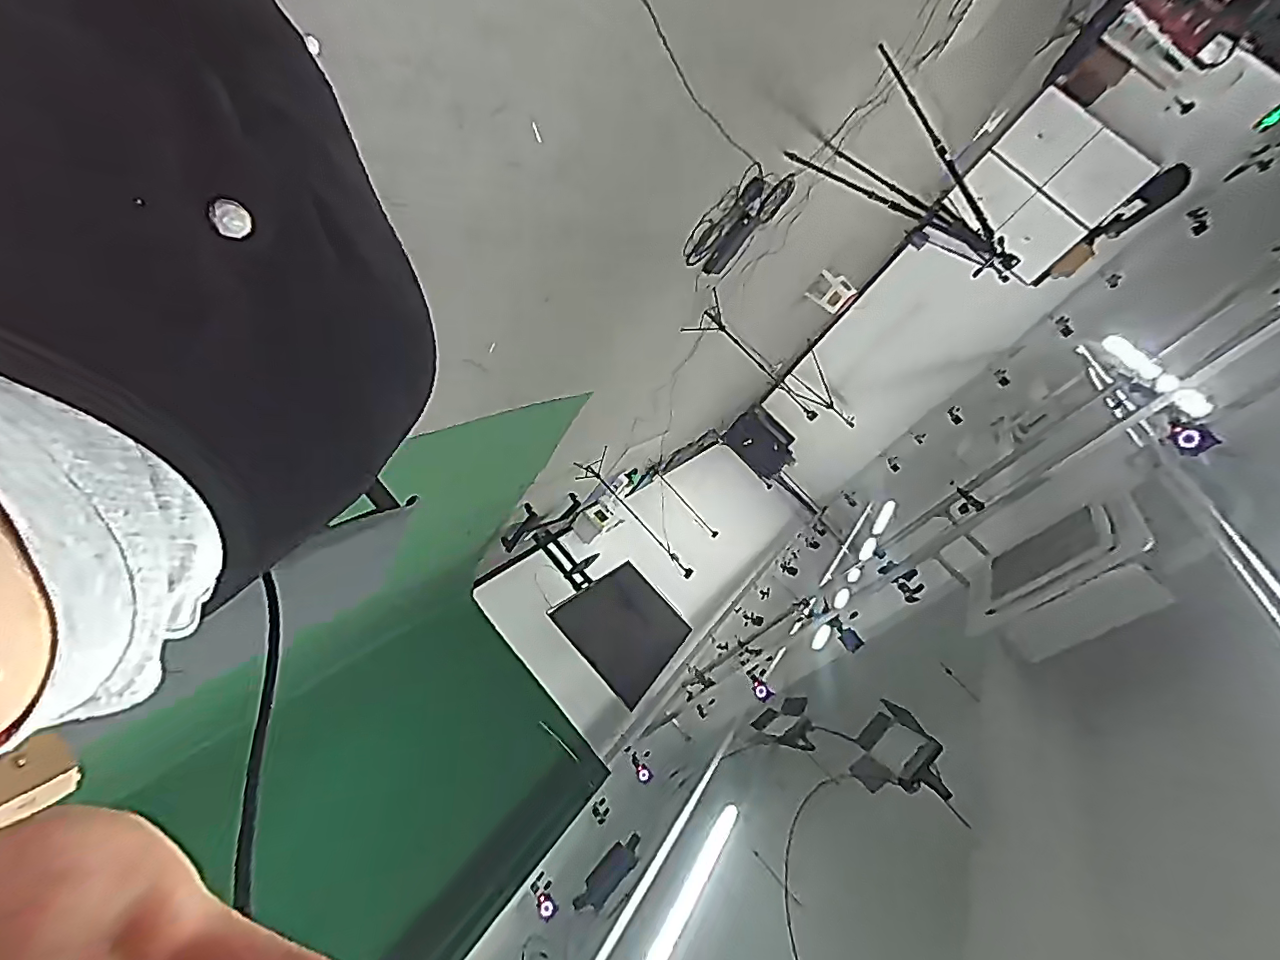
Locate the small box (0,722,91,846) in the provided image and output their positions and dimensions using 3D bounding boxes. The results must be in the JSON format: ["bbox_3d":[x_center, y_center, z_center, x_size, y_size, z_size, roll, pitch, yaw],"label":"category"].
[{"bbox_3d":[-1.438,0.705,1.258,0.168,0.176,0.179,-50,168,31],"label":"small box"}]
